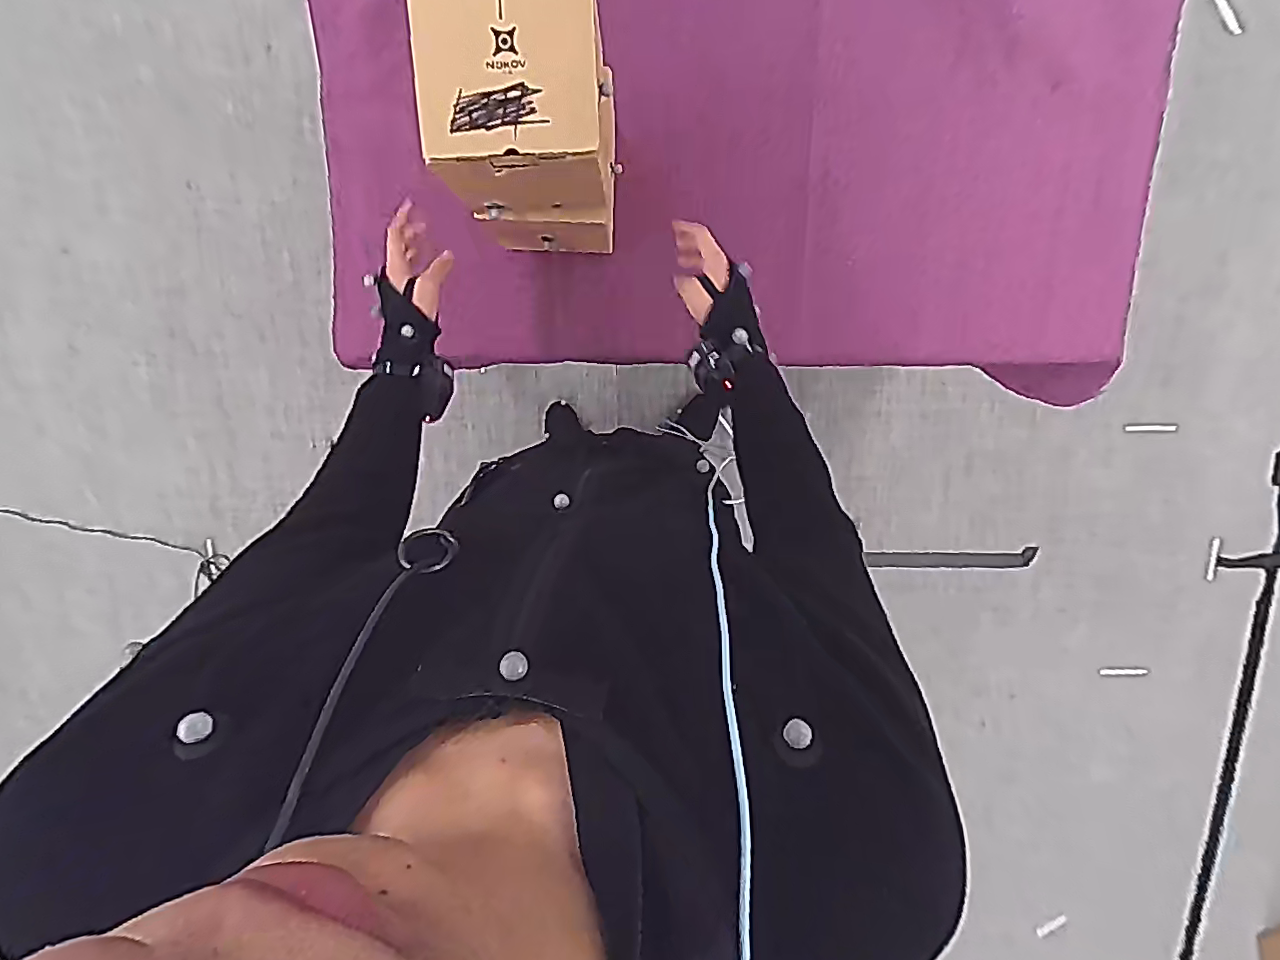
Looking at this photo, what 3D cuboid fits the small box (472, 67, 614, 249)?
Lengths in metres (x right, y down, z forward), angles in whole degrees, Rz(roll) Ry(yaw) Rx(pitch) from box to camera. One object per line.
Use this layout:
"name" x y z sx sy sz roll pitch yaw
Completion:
"small box" -0.122 -0.419 0.726 0.168 0.176 0.179 2 101 -2

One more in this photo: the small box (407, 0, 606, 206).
"small box" -0.123 -0.398 0.562 0.168 0.176 0.179 -2 100 -1
